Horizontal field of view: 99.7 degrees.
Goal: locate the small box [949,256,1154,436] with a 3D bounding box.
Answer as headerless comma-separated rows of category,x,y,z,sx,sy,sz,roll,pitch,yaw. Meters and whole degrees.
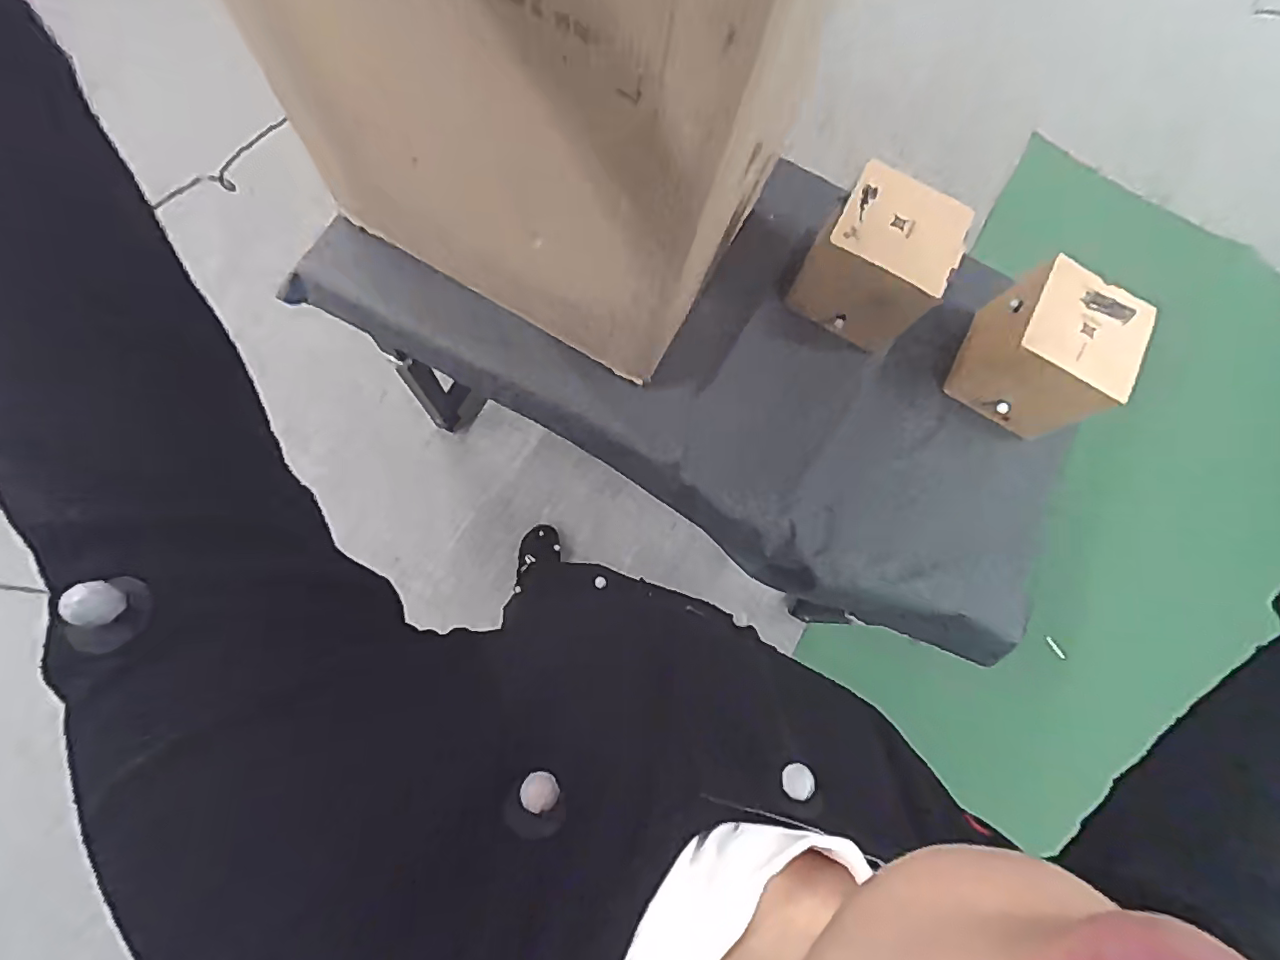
small box,0.624,-0.197,0.839,0.168,0.176,0.179,31,75,1
